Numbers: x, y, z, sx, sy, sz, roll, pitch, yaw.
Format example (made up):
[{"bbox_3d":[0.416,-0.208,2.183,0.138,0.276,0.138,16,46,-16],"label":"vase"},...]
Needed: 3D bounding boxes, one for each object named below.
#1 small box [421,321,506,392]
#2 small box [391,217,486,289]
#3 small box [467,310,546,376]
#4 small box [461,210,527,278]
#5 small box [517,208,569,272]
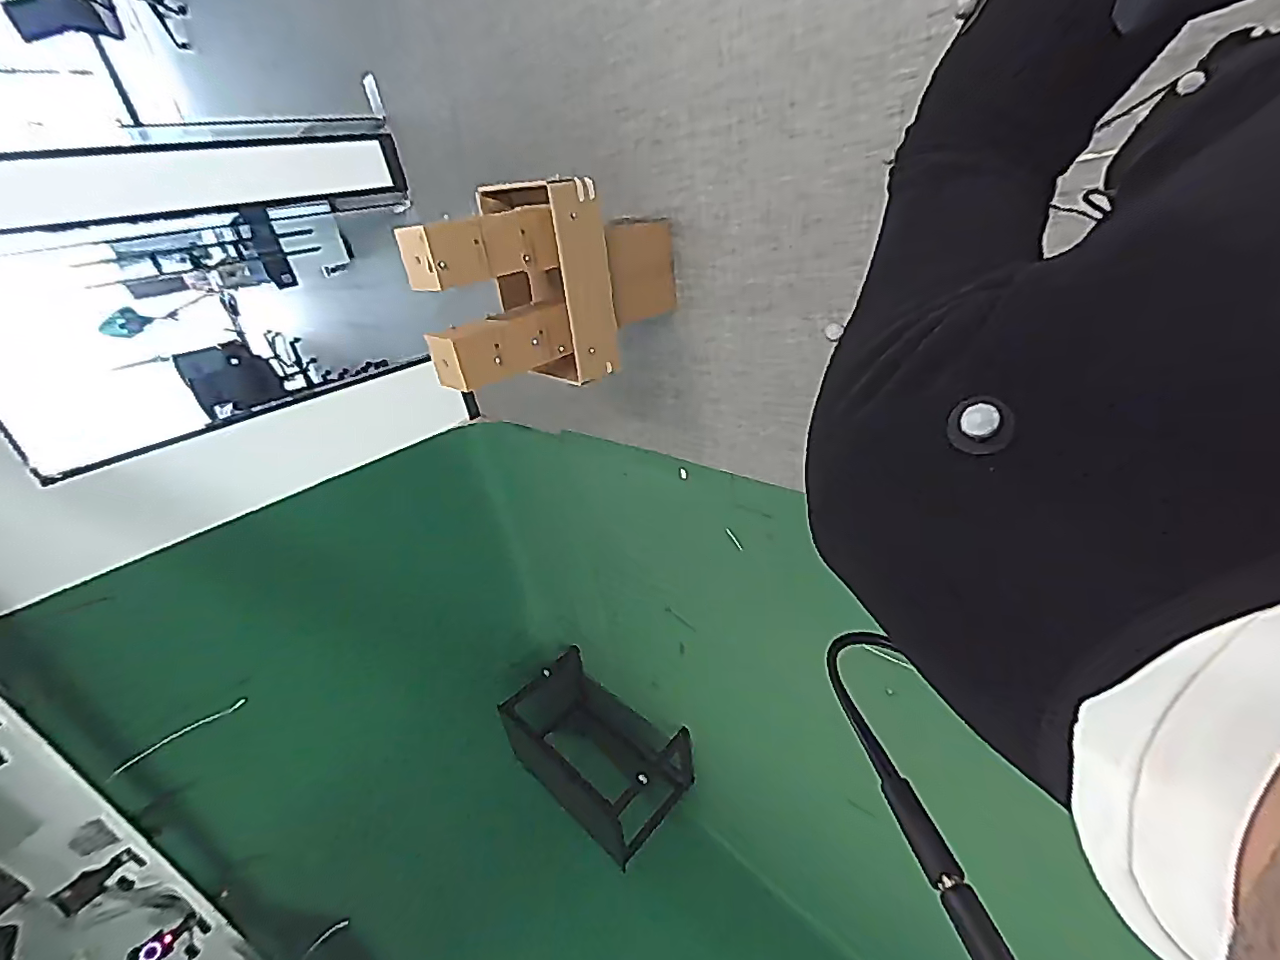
[{"bbox_3d":[-0.546,-0.389,1.681,0.179,0.176,0.168,20,129,40],"label":"small box"},{"bbox_3d":[-0.566,-0.643,1.532,0.179,0.176,0.168,18,128,40],"label":"small box"},{"bbox_3d":[-0.436,-0.457,1.781,0.179,0.176,0.168,19,128,40],"label":"small box"},{"bbox_3d":[-0.458,-0.713,1.634,0.179,0.176,0.168,18,127,40],"label":"small box"},{"bbox_3d":[-0.351,-0.775,1.742,0.179,0.176,0.168,23,129,37],"label":"small box"}]
